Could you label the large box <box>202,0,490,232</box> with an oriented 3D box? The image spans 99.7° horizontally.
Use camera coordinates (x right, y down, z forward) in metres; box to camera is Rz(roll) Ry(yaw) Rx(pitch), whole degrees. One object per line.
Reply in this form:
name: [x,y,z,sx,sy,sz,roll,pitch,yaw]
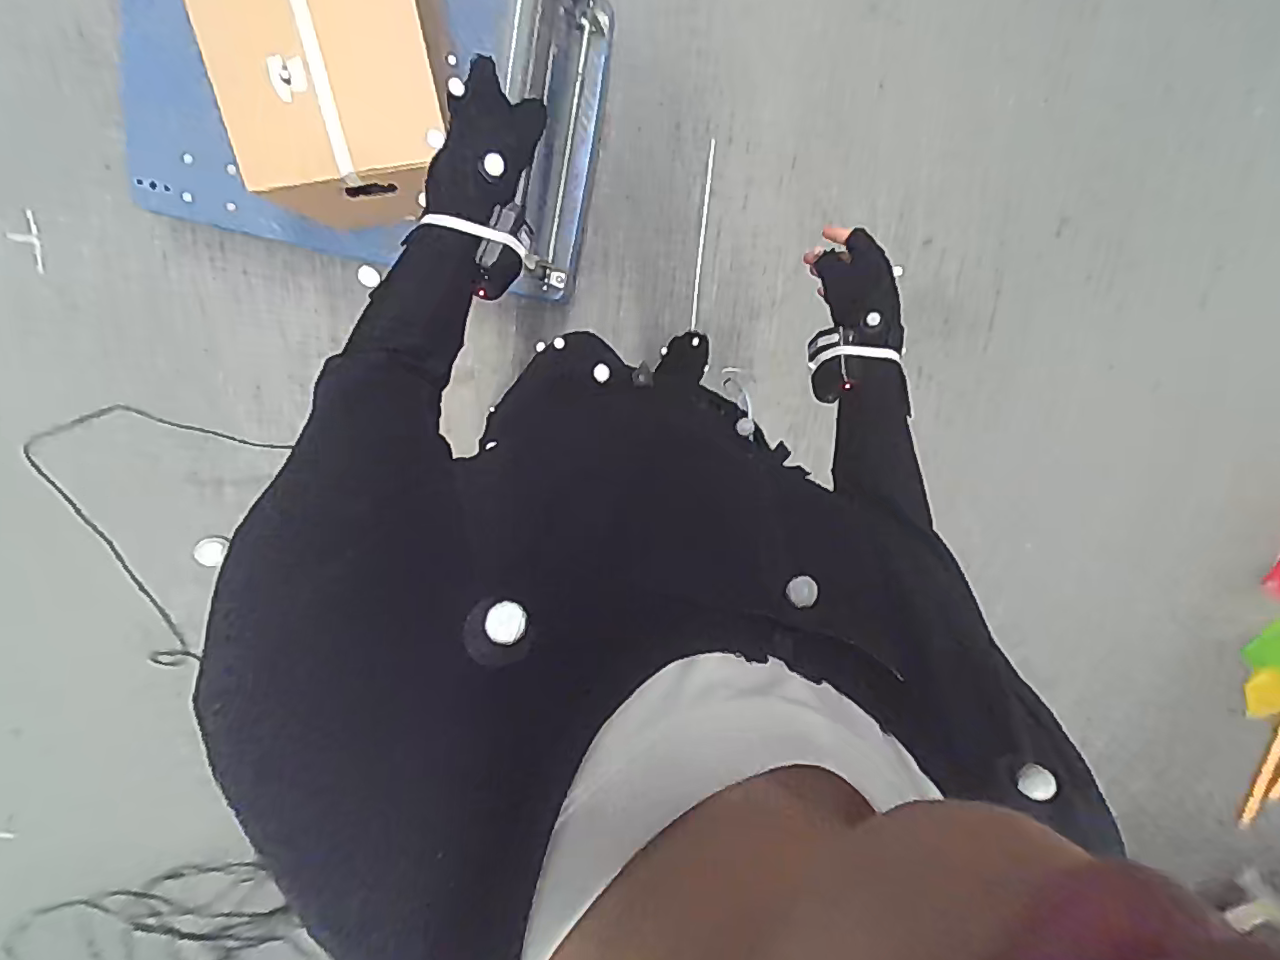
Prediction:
large box: [-0.479,-0.691,0.936,0.320,0.320,0.408,-10,106,-2]
